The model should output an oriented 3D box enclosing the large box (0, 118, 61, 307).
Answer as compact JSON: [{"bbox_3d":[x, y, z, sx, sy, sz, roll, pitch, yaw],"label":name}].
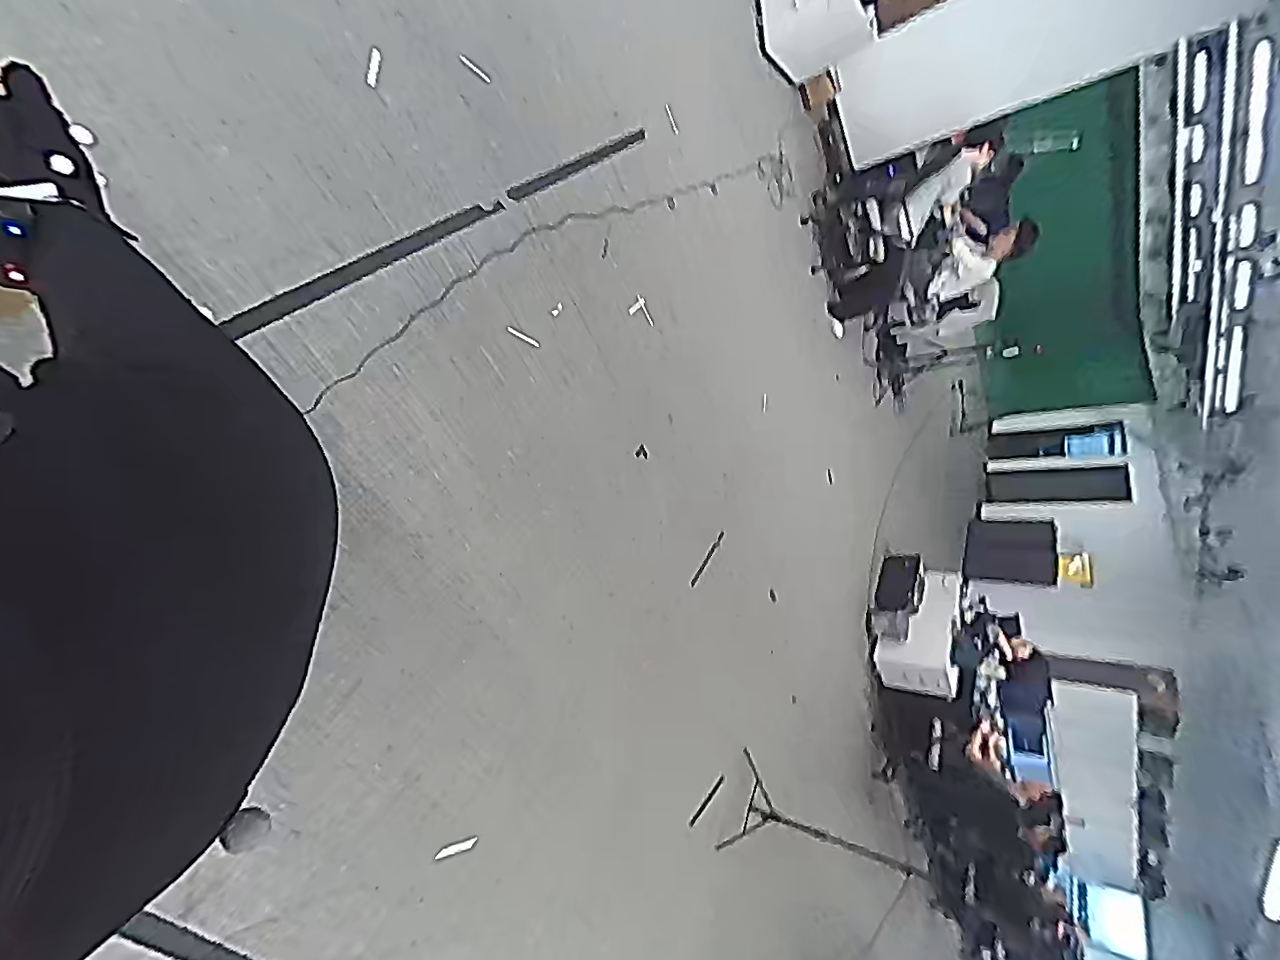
[{"bbox_3d":[-0.781,-0.284,0.393,0.408,0.320,0.320,-28,114,-48],"label":"large box"}]
